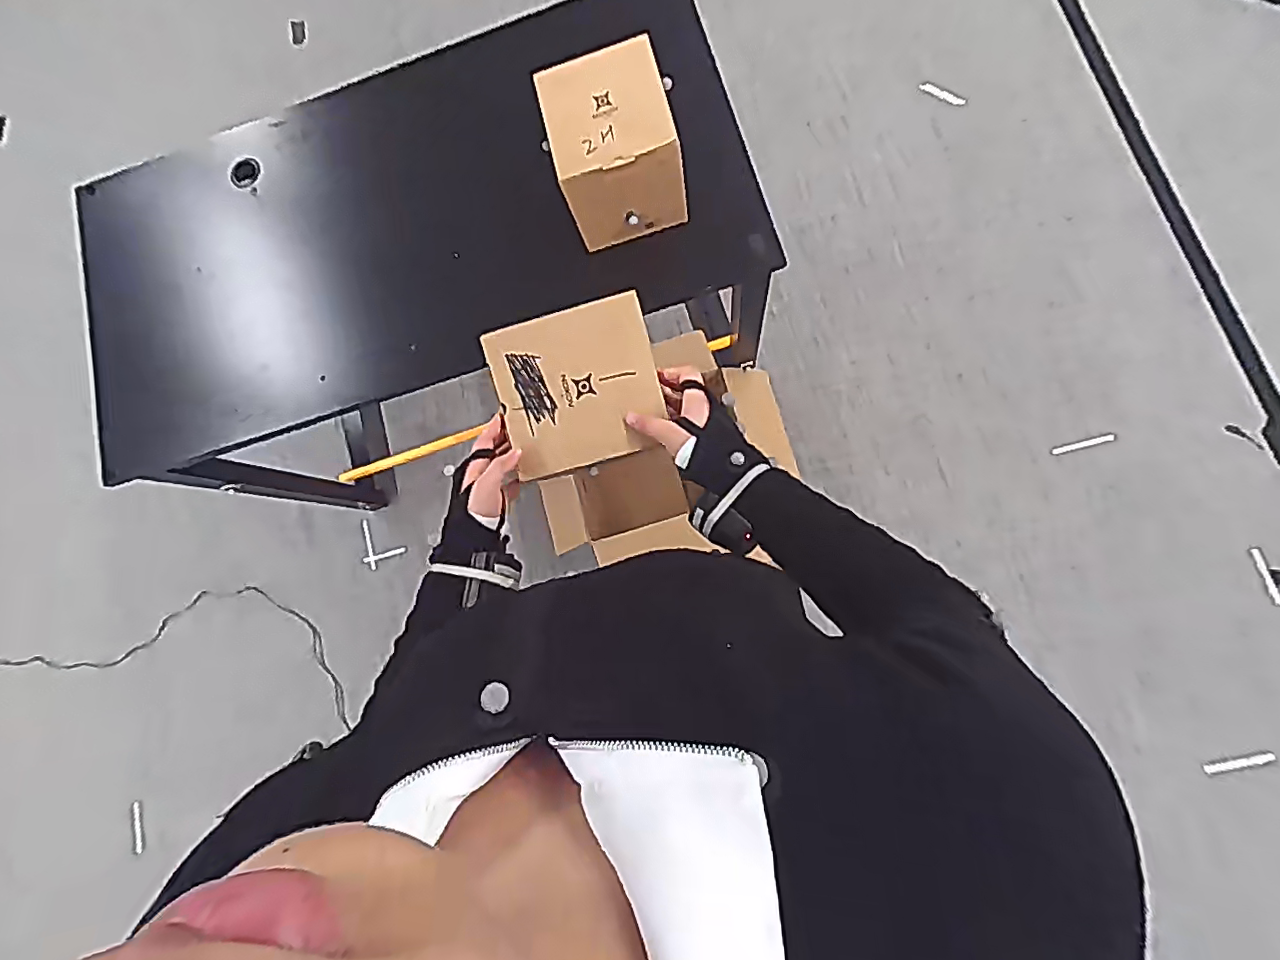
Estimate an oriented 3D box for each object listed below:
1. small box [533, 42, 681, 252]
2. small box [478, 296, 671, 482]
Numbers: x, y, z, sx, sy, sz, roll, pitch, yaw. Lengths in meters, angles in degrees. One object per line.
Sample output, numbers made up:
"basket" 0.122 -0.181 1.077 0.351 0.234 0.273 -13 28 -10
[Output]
"small box" -0.041 -0.476 0.795 0.168 0.176 0.179 -15 79 6
"small box" -0.066 -0.096 0.653 0.179 0.176 0.168 -15 90 4
